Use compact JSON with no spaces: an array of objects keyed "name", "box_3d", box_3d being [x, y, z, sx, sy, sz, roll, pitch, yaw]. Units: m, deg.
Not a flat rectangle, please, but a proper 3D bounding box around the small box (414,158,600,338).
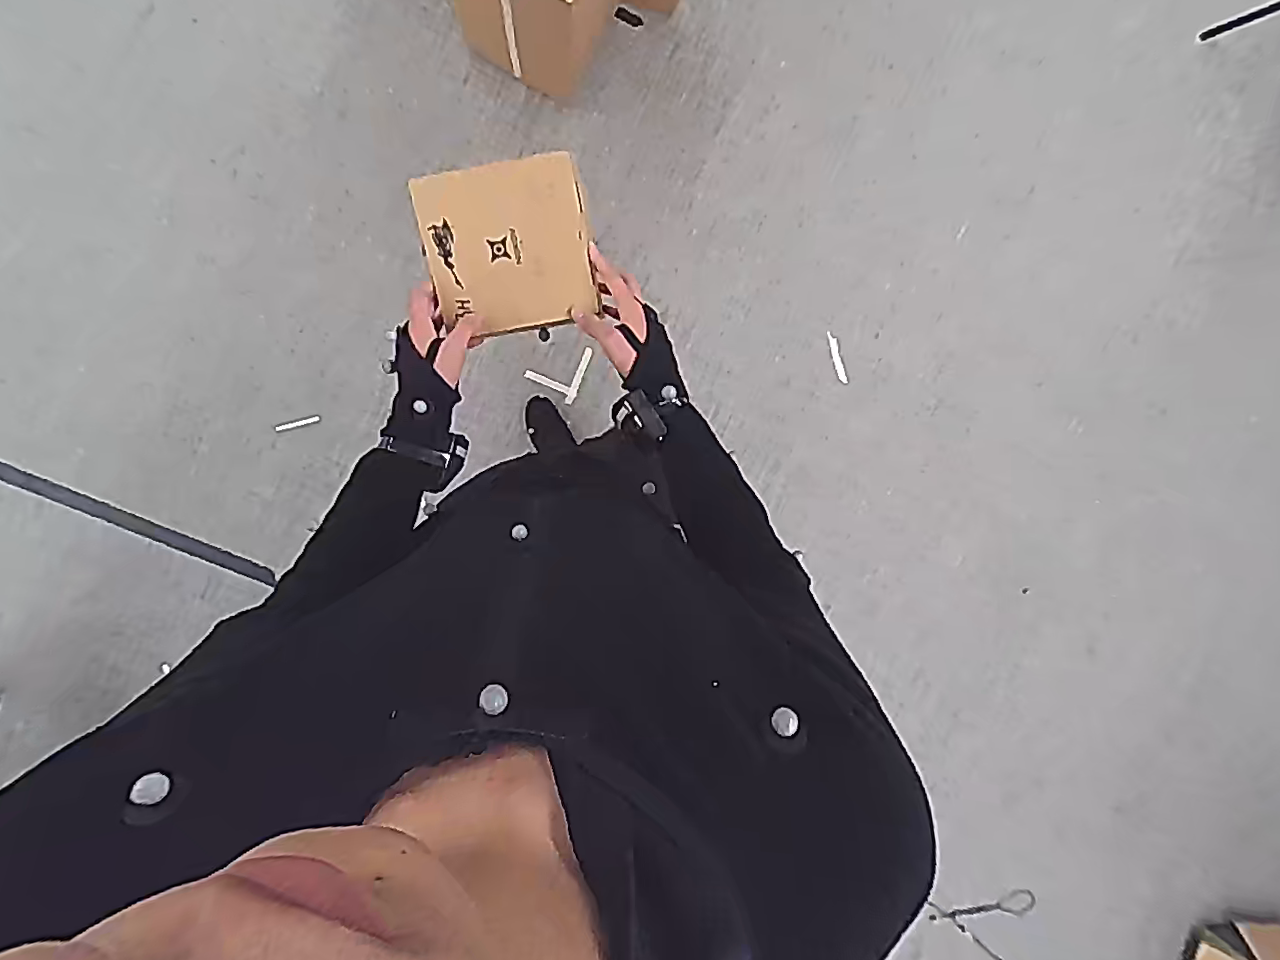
[{"name":"small box","box_3d":[-0.147,-0.275,0.669,0.179,0.176,0.168,-9,106,1]}]
